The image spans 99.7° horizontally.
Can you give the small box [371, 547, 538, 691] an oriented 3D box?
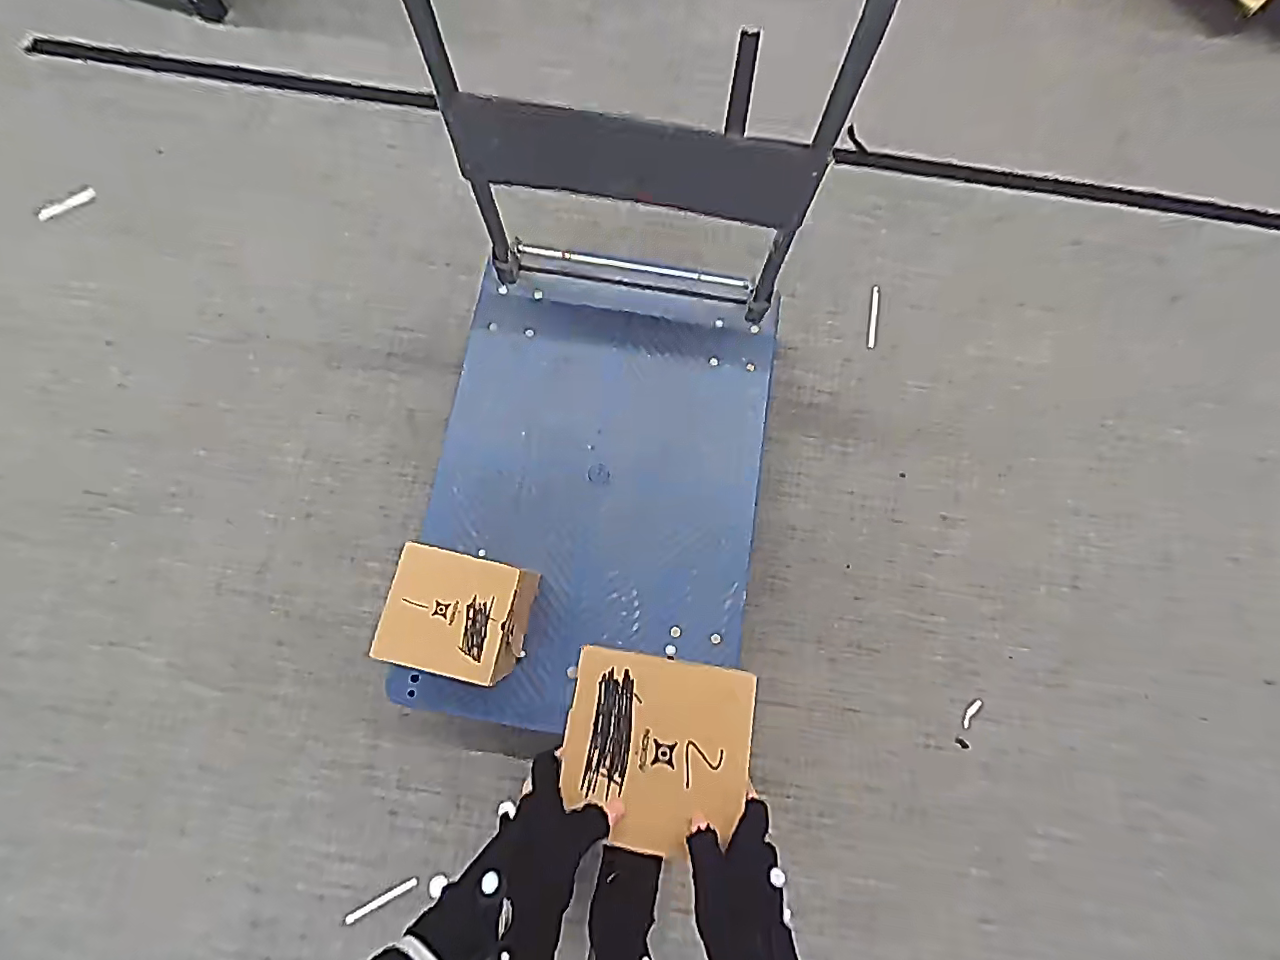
[{"bbox_3d":[-0.268,0.207,0.832,0.179,0.176,0.168,14,78,2],"label":"small box"}]
